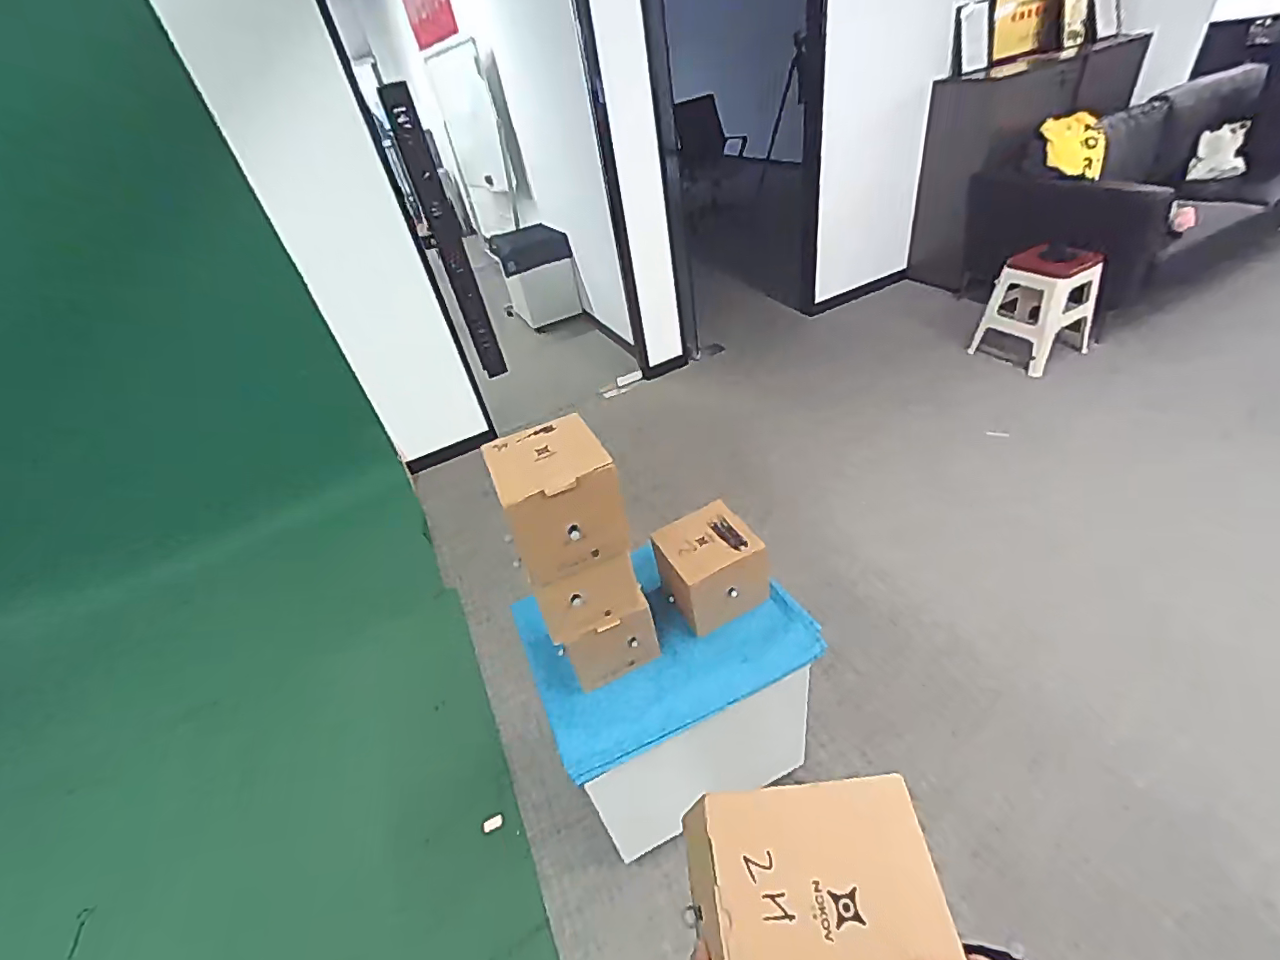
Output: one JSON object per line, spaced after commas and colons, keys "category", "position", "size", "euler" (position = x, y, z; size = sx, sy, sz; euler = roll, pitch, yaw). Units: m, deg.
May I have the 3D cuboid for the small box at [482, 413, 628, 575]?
{"category": "small box", "position": [-0.130, 0.026, 0.846], "size": [0.168, 0.176, 0.179], "euler": [-20, 38, -13]}

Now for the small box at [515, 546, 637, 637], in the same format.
{"category": "small box", "position": [-0.115, 0.151, 0.953], "size": [0.168, 0.176, 0.179], "euler": [-20, 37, -13]}

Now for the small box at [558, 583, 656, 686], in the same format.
{"category": "small box", "position": [-0.081, 0.273, 1.054], "size": [0.168, 0.176, 0.179], "euler": [-20, 38, -14]}
